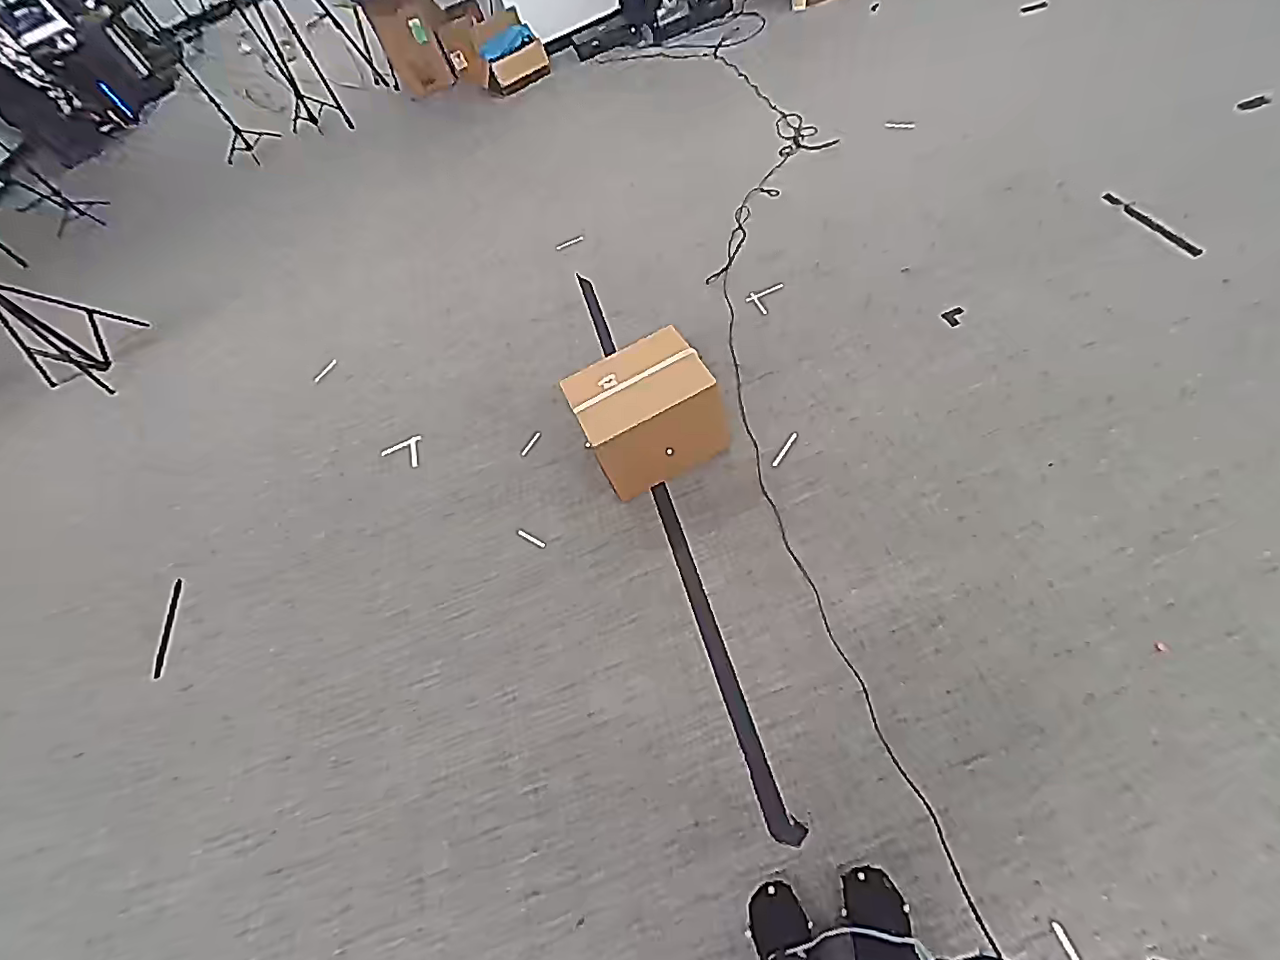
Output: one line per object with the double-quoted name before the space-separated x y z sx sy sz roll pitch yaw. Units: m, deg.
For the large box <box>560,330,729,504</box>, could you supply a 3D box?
"large box" 0.023 -0.194 1.723 0.408 0.320 0.320 -28 52 -1
